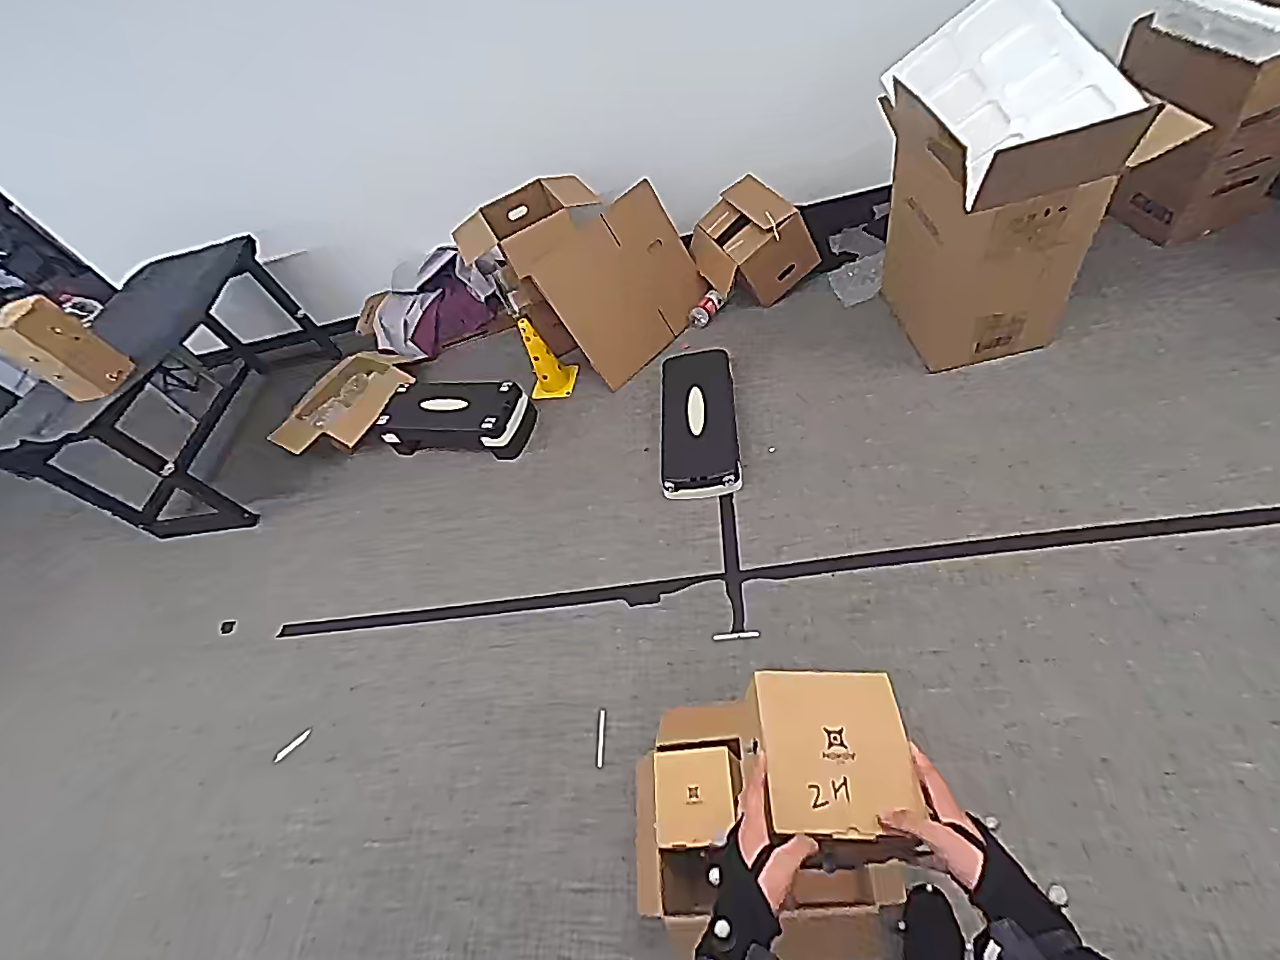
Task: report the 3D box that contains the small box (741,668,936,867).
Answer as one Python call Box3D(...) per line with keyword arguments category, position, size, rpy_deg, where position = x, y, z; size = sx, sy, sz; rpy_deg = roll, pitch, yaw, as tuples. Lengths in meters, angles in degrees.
Box3D(category="small box", position=(0.220, 0.350, 0.660), size=(0.168, 0.176, 0.179), rpy_deg=(1, 47, 2))
